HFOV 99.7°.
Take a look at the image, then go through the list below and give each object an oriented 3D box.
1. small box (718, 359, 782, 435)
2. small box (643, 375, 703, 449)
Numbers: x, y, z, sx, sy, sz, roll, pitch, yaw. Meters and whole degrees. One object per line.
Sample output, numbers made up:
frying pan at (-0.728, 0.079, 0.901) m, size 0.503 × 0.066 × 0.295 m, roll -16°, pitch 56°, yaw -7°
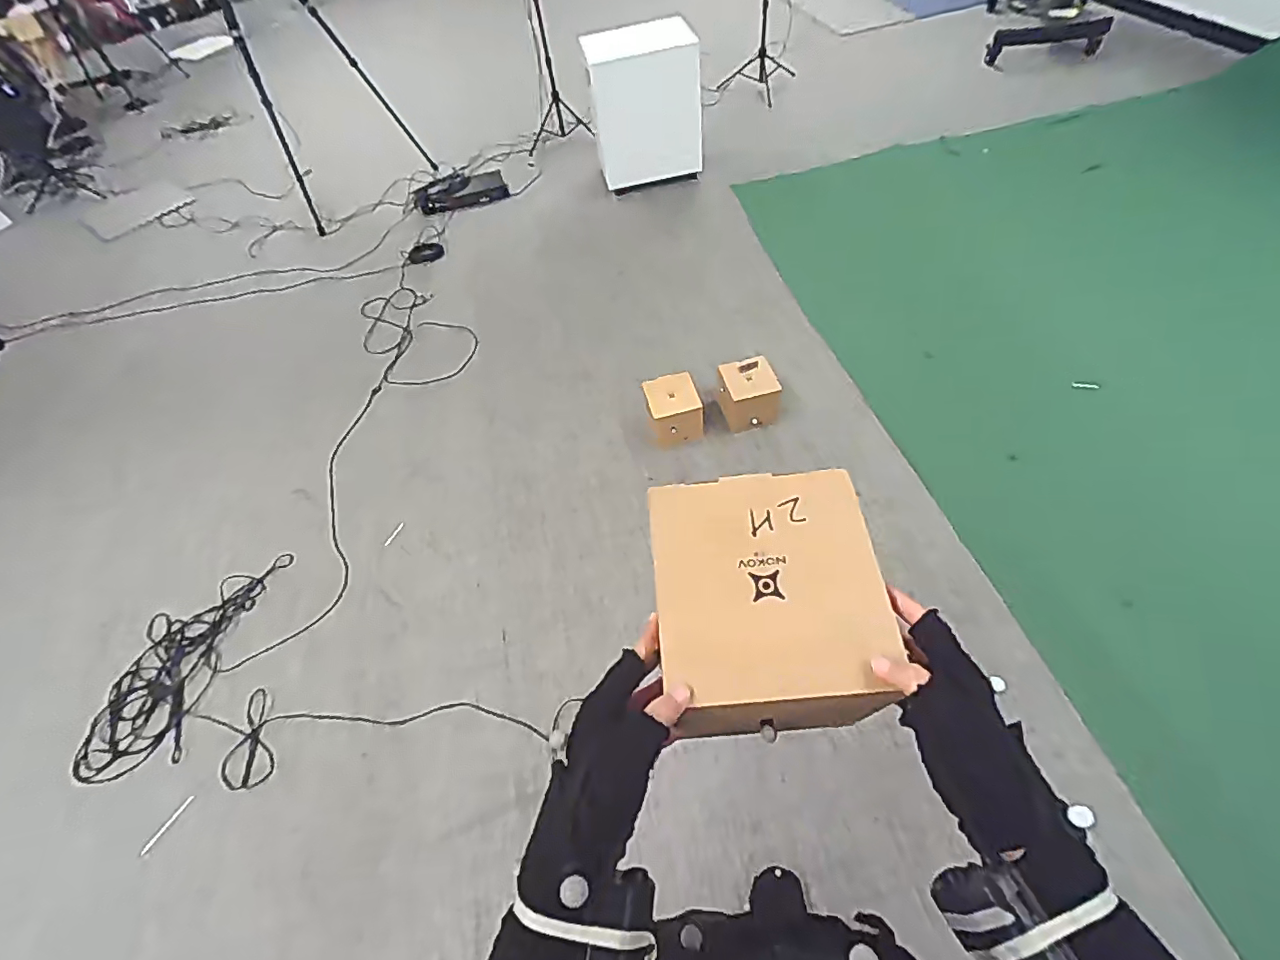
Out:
small box at (0.371, -0.285, 1.861) m, size 0.168 × 0.176 × 0.179 m, roll -14°, pitch 55°, yaw -3°
small box at (0.115, -0.226, 1.854) m, size 0.168 × 0.176 × 0.179 m, roll -15°, pitch 54°, yaw -3°
